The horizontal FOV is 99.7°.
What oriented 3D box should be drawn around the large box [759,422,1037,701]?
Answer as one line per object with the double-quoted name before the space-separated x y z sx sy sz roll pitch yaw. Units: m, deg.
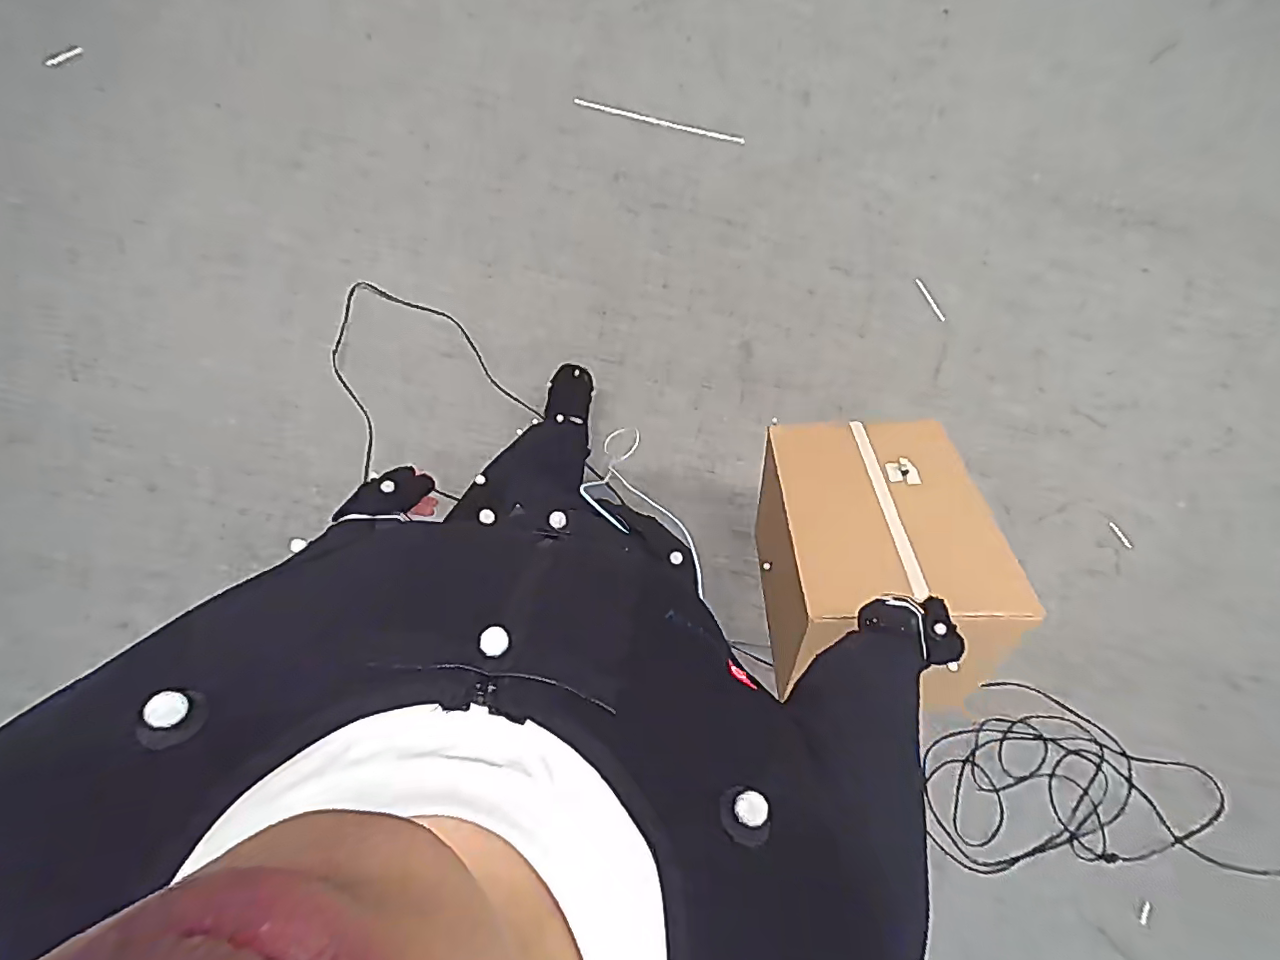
"large box" 0.405 0.145 0.984 0.320 0.320 0.408 -1 46 3
